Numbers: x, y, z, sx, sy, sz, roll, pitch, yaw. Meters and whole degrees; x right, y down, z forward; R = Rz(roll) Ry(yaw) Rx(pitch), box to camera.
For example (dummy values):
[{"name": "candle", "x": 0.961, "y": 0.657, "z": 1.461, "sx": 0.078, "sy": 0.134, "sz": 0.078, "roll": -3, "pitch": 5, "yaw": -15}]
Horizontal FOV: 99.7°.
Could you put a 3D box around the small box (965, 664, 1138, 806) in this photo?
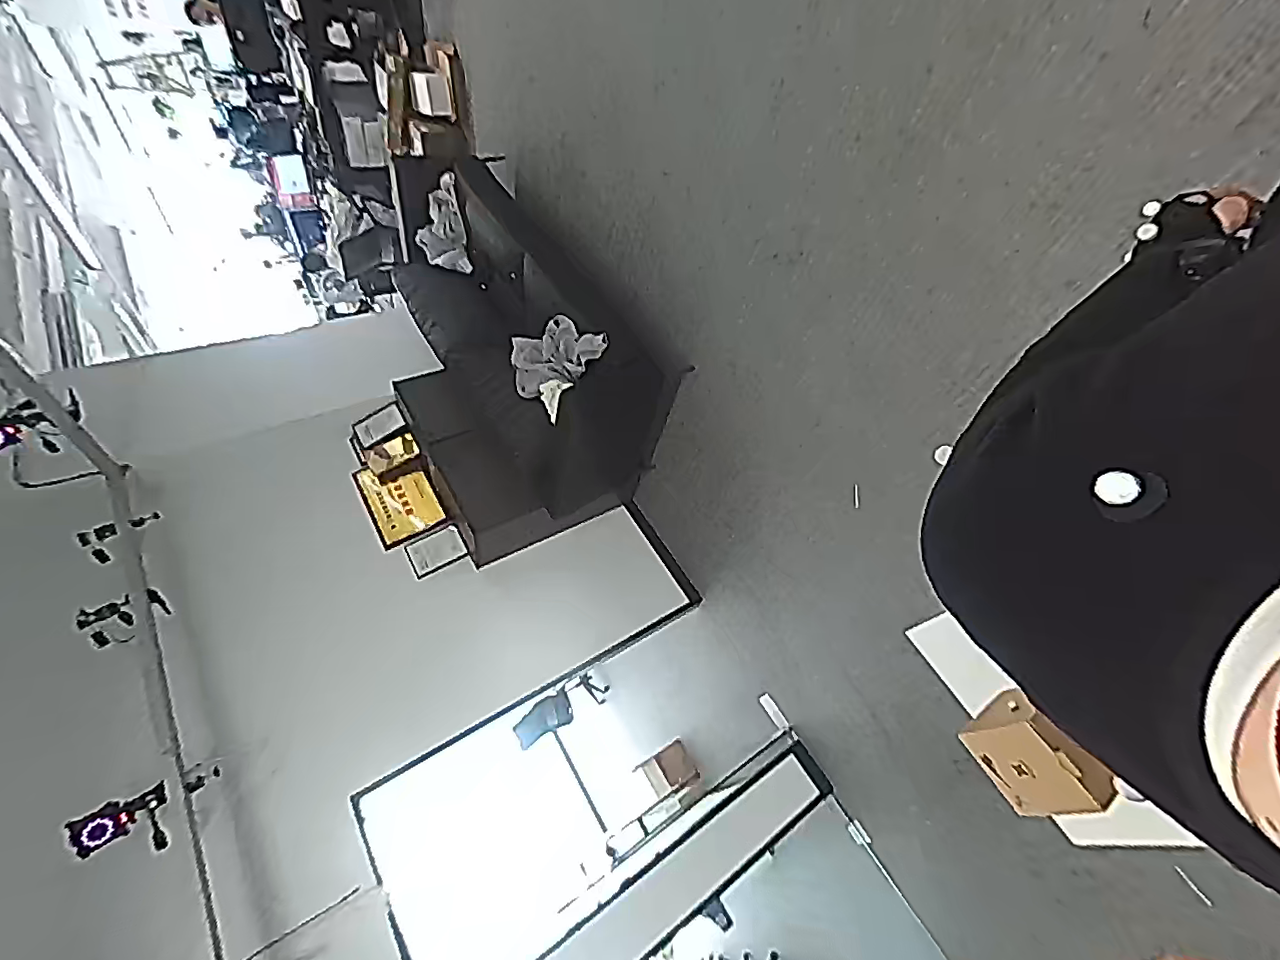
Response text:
[{"name": "small box", "x": 0.769, "y": 0.472, "z": 1.010, "sx": 0.168, "sy": 0.176, "sz": 0.179, "roll": 54, "pitch": 150, "yaw": 23}]
